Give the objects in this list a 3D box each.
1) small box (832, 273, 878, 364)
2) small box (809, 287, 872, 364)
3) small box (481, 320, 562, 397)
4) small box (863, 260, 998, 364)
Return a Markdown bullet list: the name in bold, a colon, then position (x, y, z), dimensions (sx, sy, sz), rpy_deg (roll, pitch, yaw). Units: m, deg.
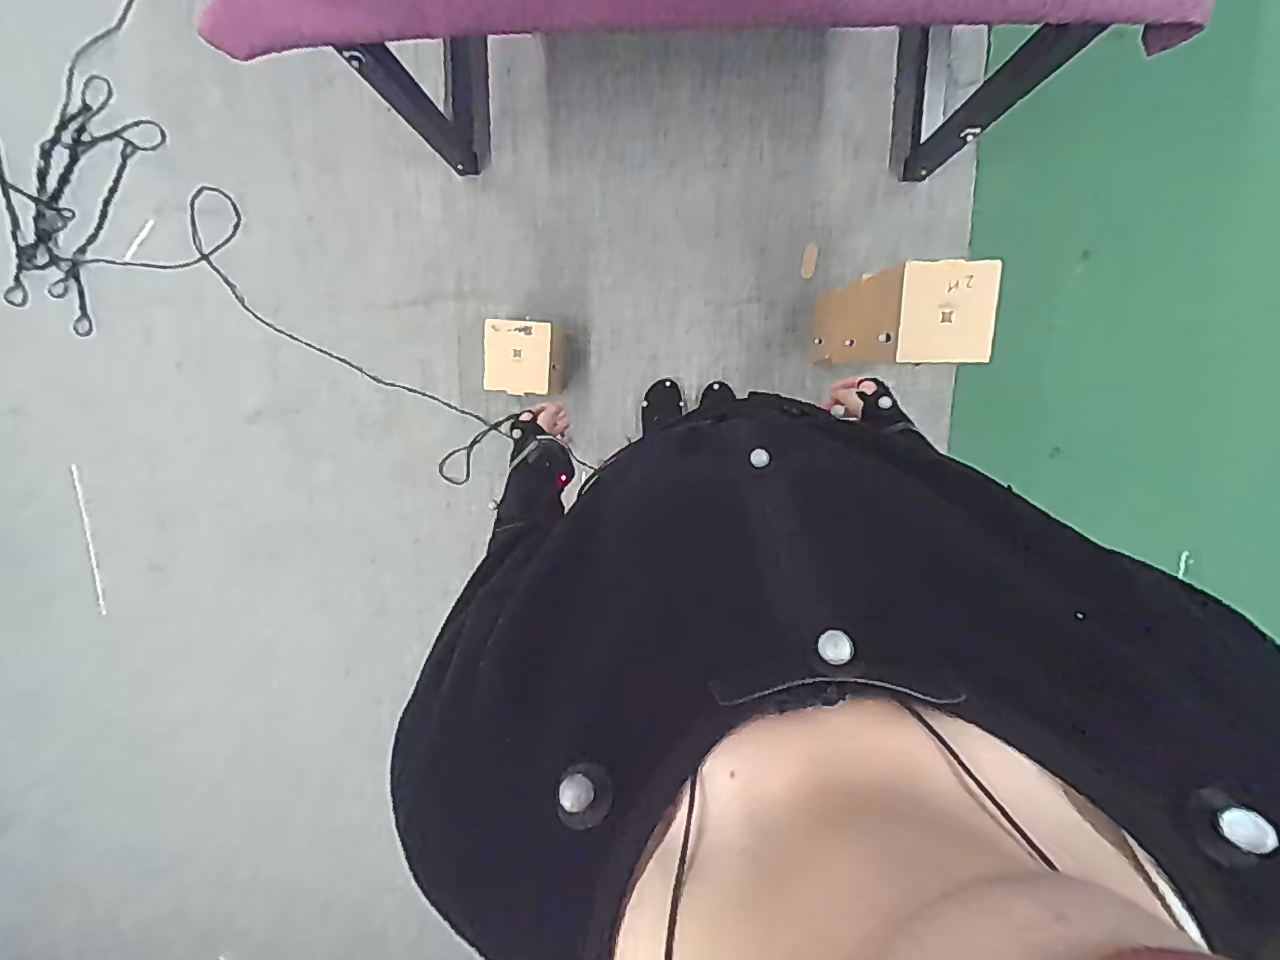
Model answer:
- **small box**: position (0.530, -0.348, 1.186), dimensions (0.168, 0.176, 0.179), rpy_deg (0, 101, 3)
- **small box**: position (0.532, -0.378, 1.345), dimensions (0.179, 0.176, 0.168), rpy_deg (2, 100, 2)
- **small box**: position (-0.301, -0.311, 1.395), dimensions (0.168, 0.176, 0.179), rpy_deg (5, 100, 2)
- **small box**: position (0.536, -0.309, 1.025), dimensions (0.168, 0.176, 0.179), rpy_deg (0, 101, 2)
